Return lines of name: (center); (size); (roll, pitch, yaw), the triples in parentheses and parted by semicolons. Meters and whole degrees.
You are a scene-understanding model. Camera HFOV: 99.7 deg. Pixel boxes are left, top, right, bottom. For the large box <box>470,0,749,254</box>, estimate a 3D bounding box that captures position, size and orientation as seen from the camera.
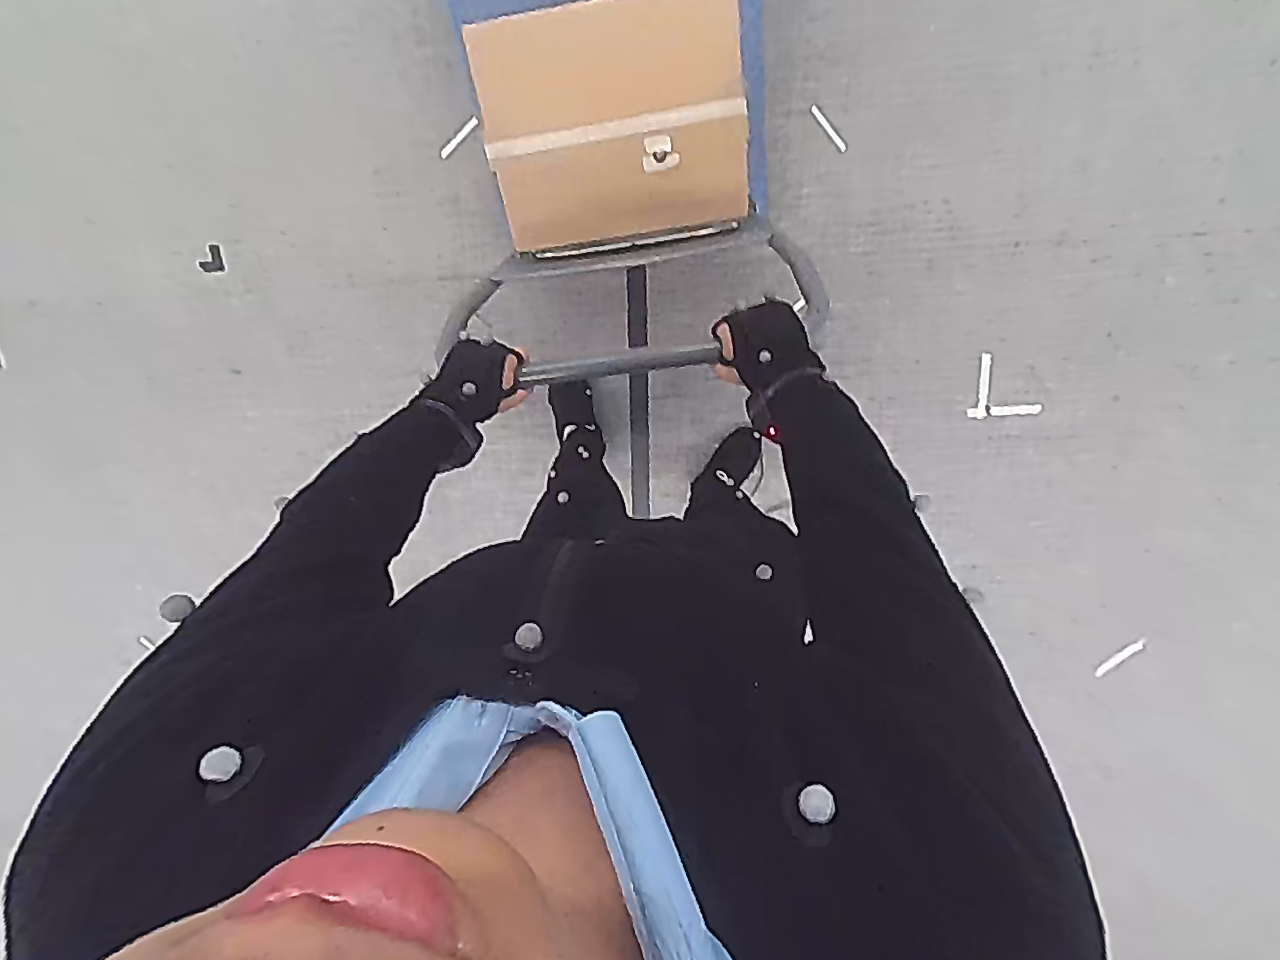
large box: (-0.035, -0.630, 0.989); (0.408, 0.320, 0.320); (-8, 120, 5)
